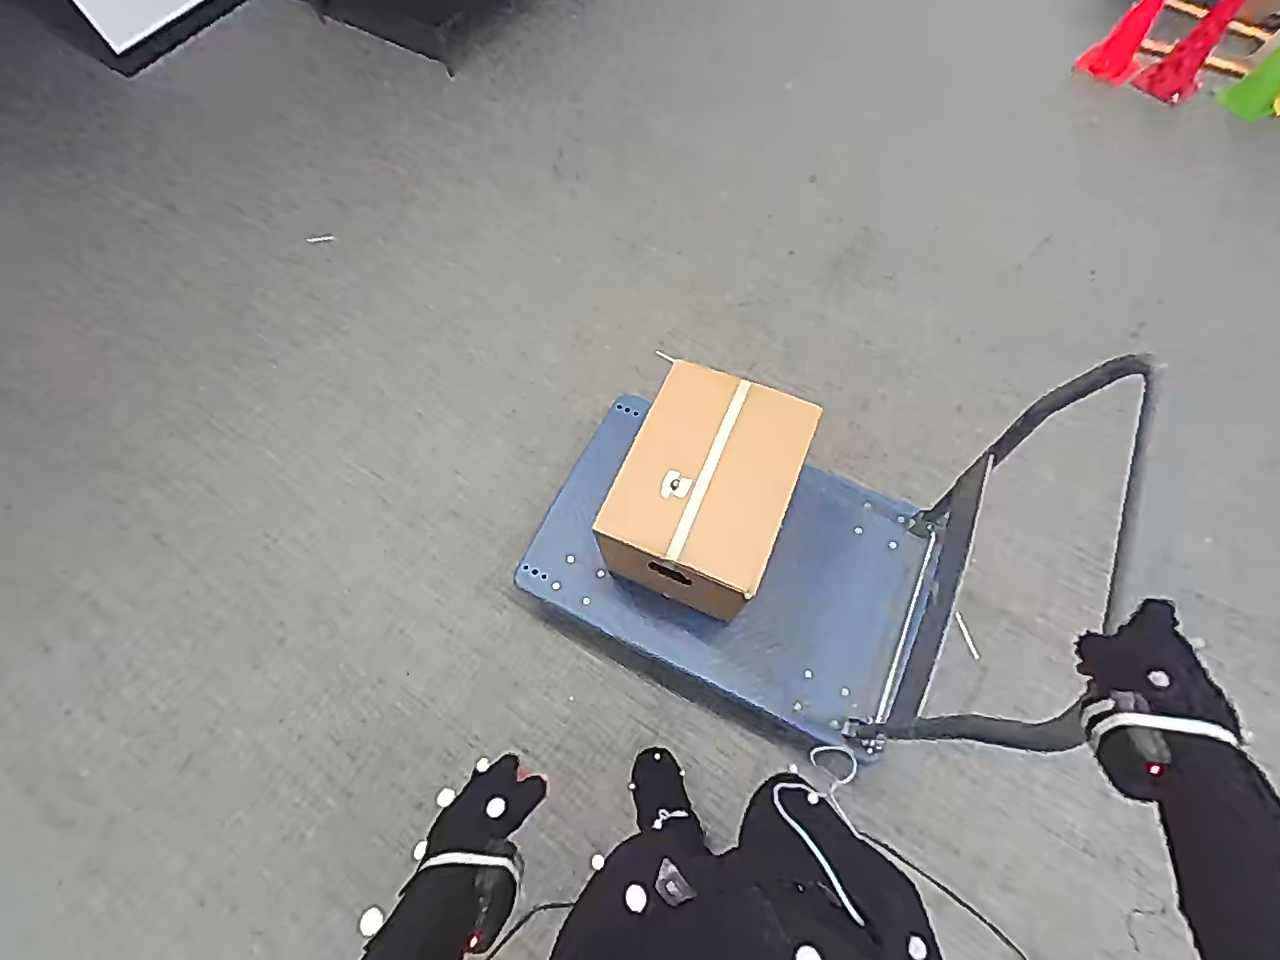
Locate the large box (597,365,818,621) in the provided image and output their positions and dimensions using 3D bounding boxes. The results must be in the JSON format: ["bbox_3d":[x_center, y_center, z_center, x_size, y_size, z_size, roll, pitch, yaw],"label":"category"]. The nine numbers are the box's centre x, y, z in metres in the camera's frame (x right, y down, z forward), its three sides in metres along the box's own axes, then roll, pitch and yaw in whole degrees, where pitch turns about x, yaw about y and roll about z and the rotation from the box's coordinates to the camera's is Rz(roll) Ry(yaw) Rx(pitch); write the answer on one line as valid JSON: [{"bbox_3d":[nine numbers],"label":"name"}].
[{"bbox_3d":[0.142,0.038,1.157,0.320,0.320,0.408,21,70,12],"label":"large box"}]
